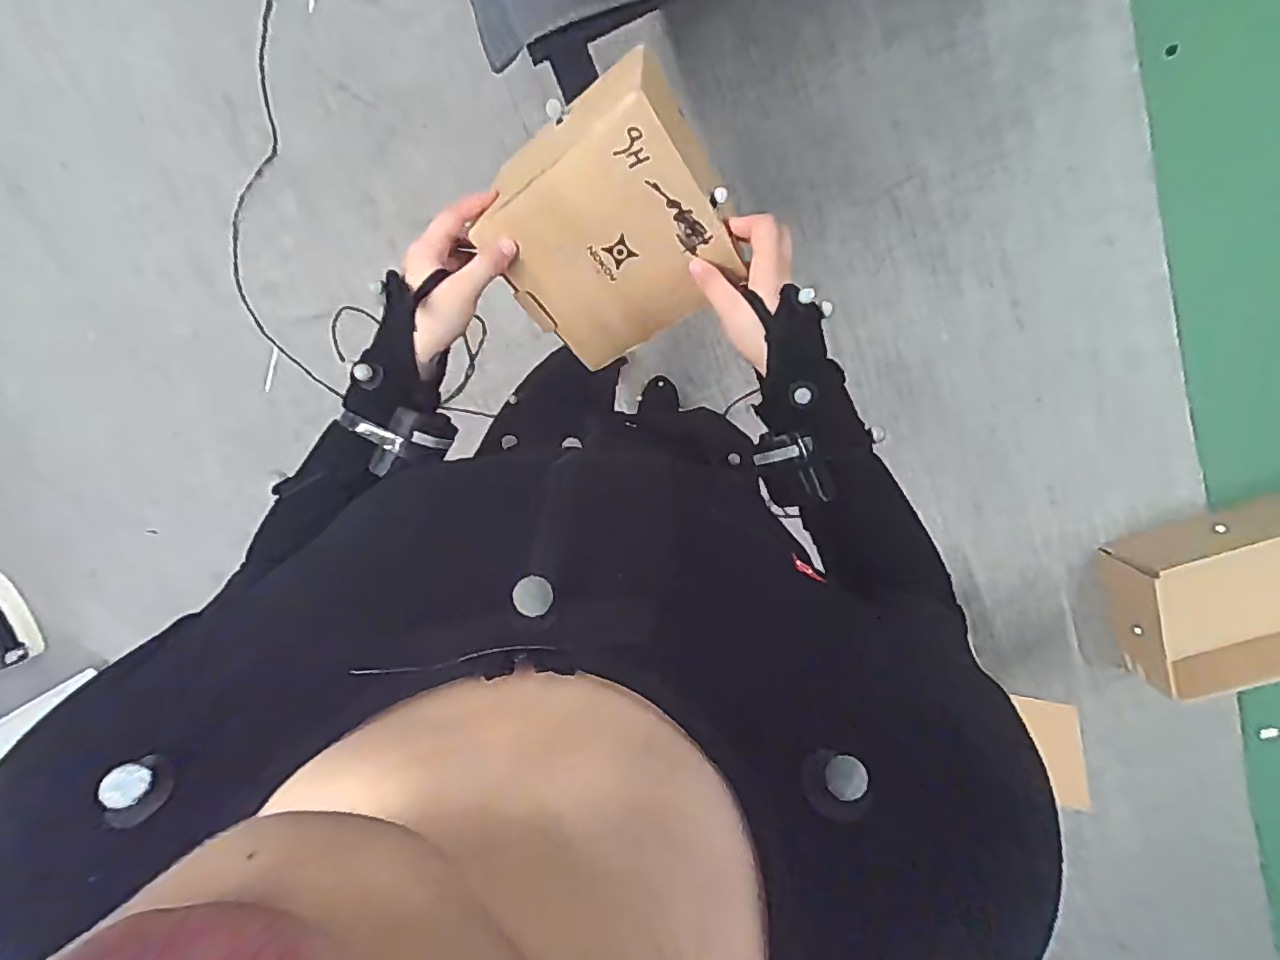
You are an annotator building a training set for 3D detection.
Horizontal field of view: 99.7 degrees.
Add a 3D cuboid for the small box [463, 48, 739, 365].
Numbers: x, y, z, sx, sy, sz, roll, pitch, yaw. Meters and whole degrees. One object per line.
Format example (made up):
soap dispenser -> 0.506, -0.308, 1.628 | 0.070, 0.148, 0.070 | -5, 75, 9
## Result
small box -> -0.026, -0.247, 0.501 | 0.179, 0.176, 0.168 | -24, 132, 25
